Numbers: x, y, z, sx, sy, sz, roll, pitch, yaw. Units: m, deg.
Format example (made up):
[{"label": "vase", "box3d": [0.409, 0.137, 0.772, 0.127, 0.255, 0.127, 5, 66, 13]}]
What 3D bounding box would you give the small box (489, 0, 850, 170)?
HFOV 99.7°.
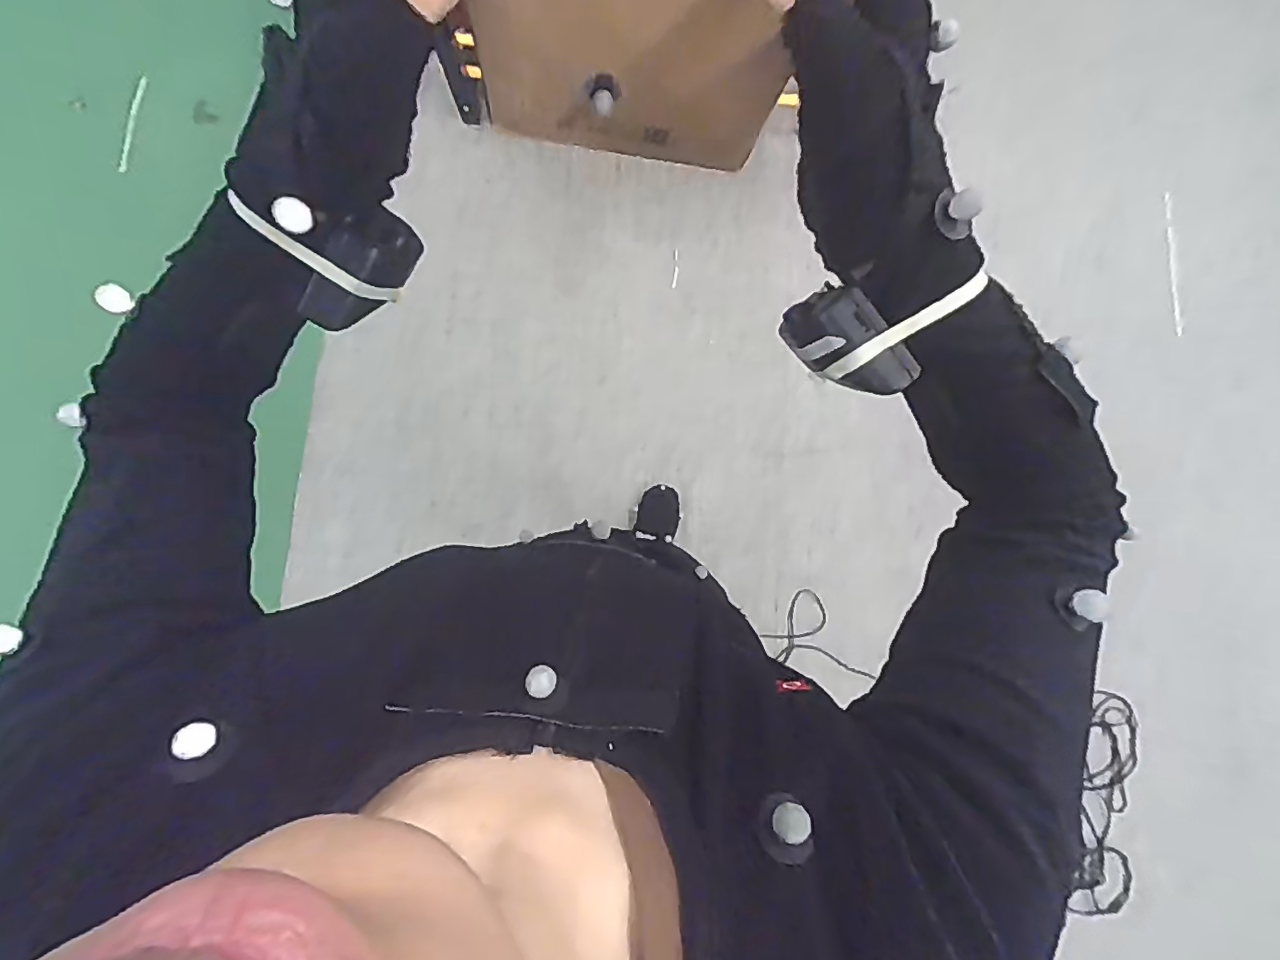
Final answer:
[{"label": "small box", "box3d": [0.011, -0.300, 0.275, 0.168, 0.176, 0.179, 5, 90, -8]}]
